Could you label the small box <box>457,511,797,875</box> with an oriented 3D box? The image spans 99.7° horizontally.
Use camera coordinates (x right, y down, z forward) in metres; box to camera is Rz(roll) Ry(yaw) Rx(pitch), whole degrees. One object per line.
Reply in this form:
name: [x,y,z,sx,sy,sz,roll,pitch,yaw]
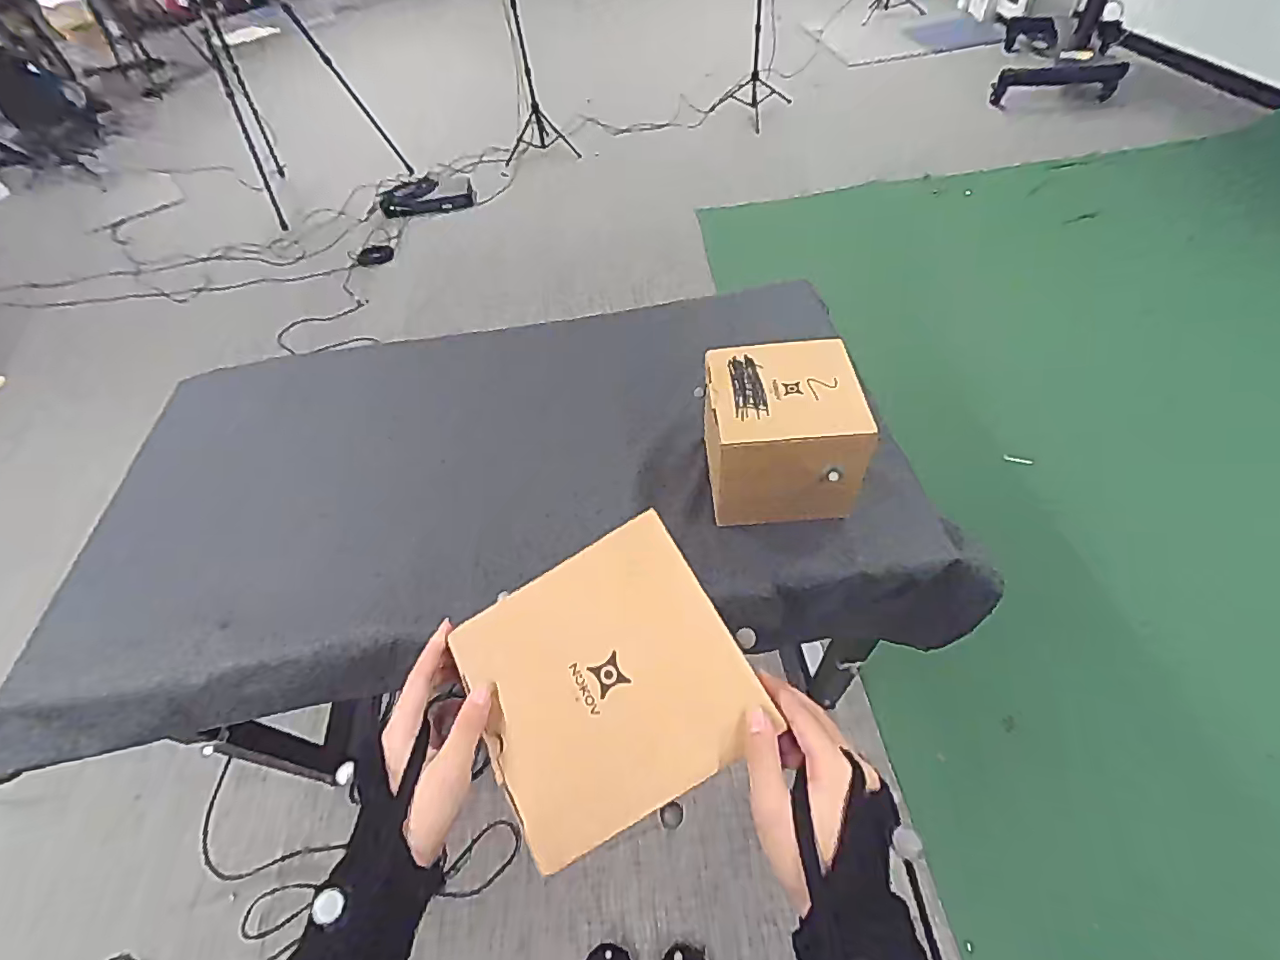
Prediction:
small box: [-0.003,0.153,0.425,0.179,0.176,0.168,-32,68,0]
